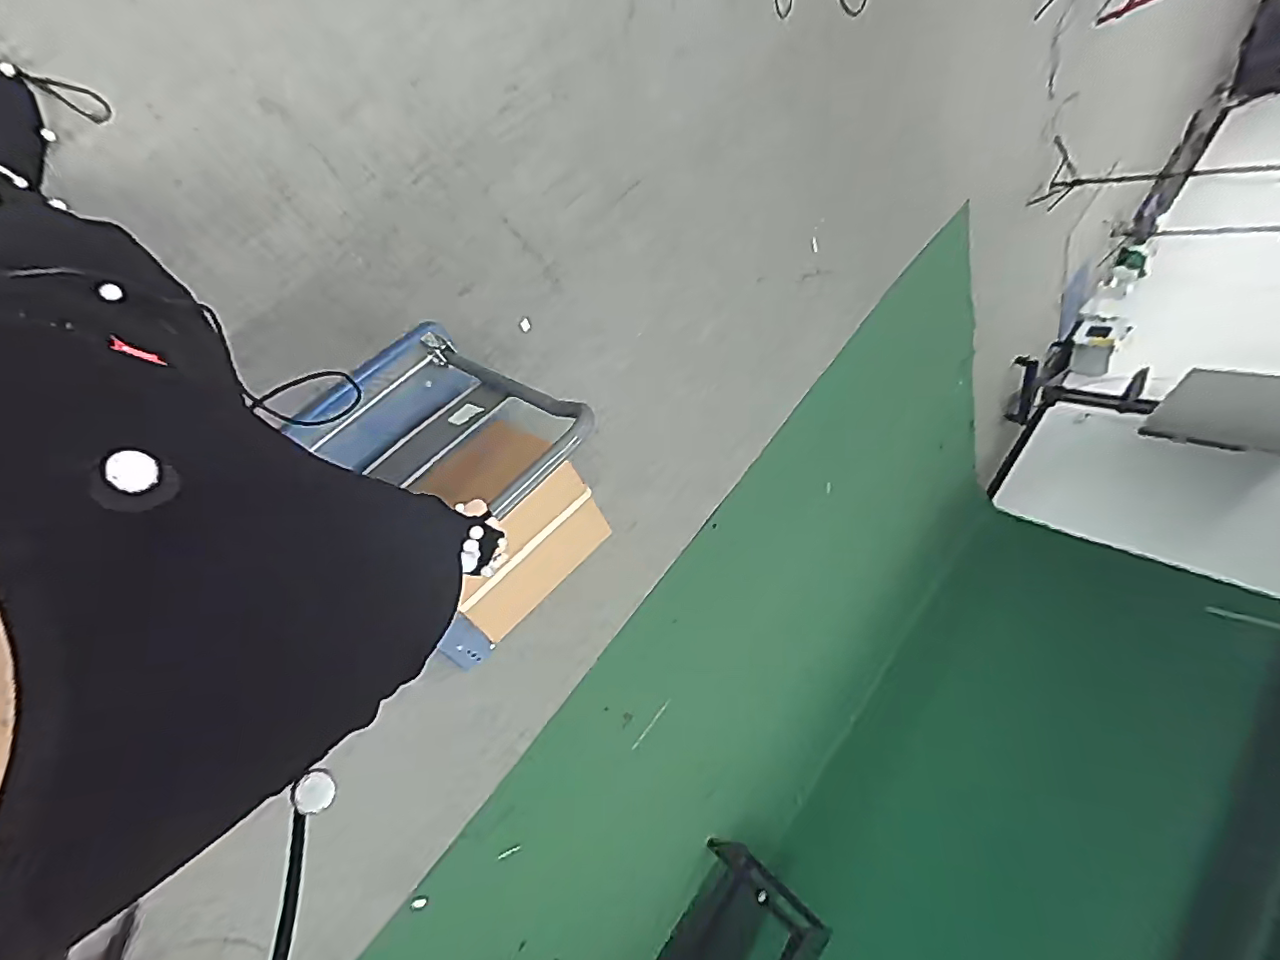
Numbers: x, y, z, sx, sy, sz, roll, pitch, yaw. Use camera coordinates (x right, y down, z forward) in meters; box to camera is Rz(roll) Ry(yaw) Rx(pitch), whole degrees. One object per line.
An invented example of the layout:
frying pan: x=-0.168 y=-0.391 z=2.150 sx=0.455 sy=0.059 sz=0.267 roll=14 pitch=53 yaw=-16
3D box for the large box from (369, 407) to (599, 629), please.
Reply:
large box: x=-0.386 y=0.079 z=1.373 sx=0.408 sy=0.320 sz=0.320 roll=-43 pitch=131 yaw=-19
